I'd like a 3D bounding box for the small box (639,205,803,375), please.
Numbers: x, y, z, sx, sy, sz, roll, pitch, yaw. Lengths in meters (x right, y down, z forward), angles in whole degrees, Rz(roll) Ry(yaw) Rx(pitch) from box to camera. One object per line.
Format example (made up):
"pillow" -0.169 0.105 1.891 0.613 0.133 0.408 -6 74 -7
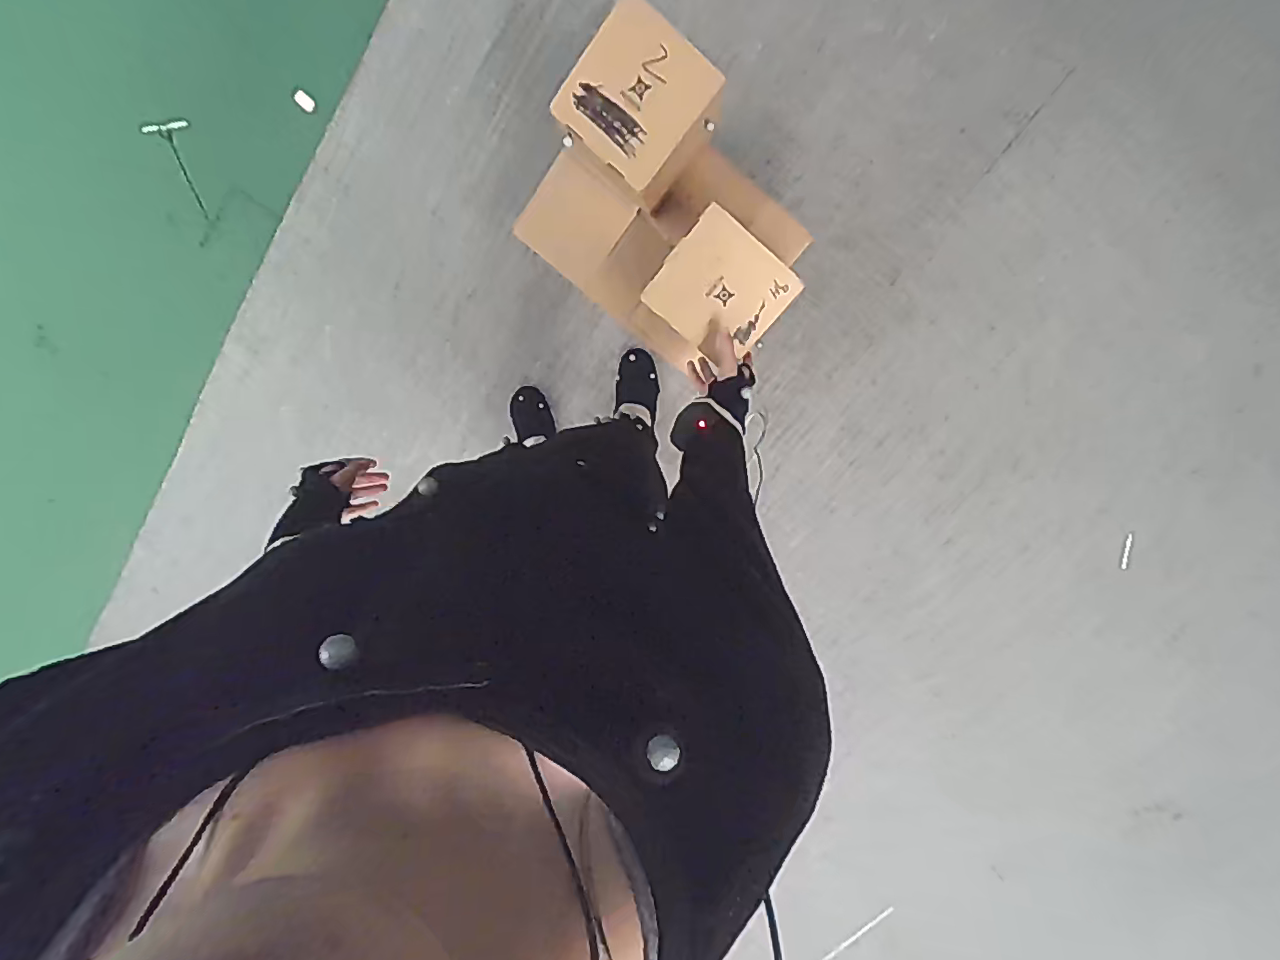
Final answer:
"small box" 0.121 -0.286 0.843 0.179 0.176 0.168 40 107 -6
